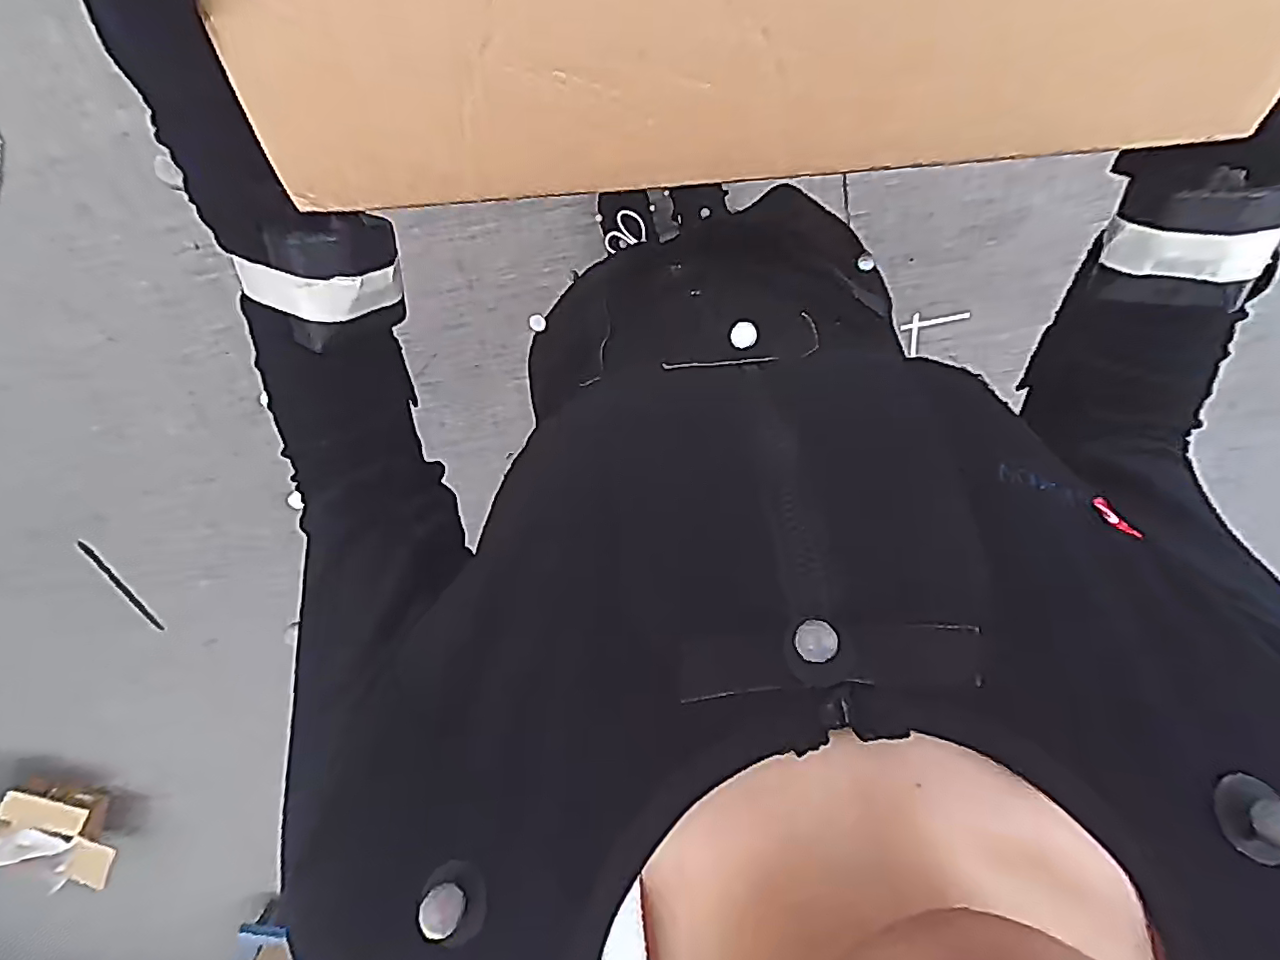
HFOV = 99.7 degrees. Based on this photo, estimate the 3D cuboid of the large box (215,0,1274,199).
[{"bbox_3d":[0.033,-0.356,0.234,0.408,0.320,0.320,-3,135,3],"label":"large box"}]
